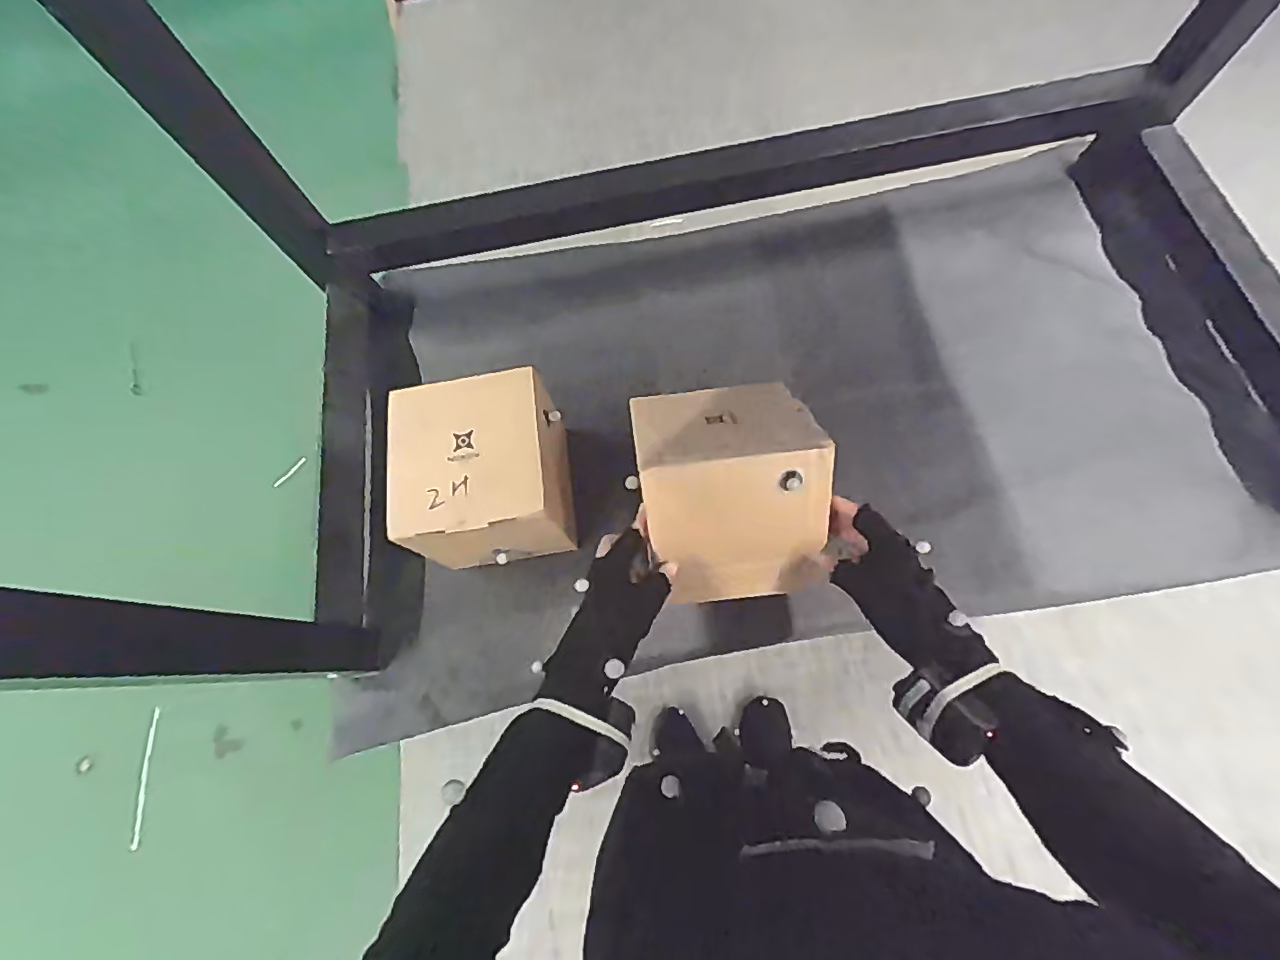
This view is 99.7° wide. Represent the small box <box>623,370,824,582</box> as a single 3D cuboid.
[{"bbox_3d":[0.080,-0.007,0.576,0.179,0.176,0.168,-6,27,-1],"label":"small box"}]

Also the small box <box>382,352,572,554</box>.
[{"bbox_3d":[-0.184,-0.023,0.647,0.168,0.176,0.179,-10,71,3],"label":"small box"}]
